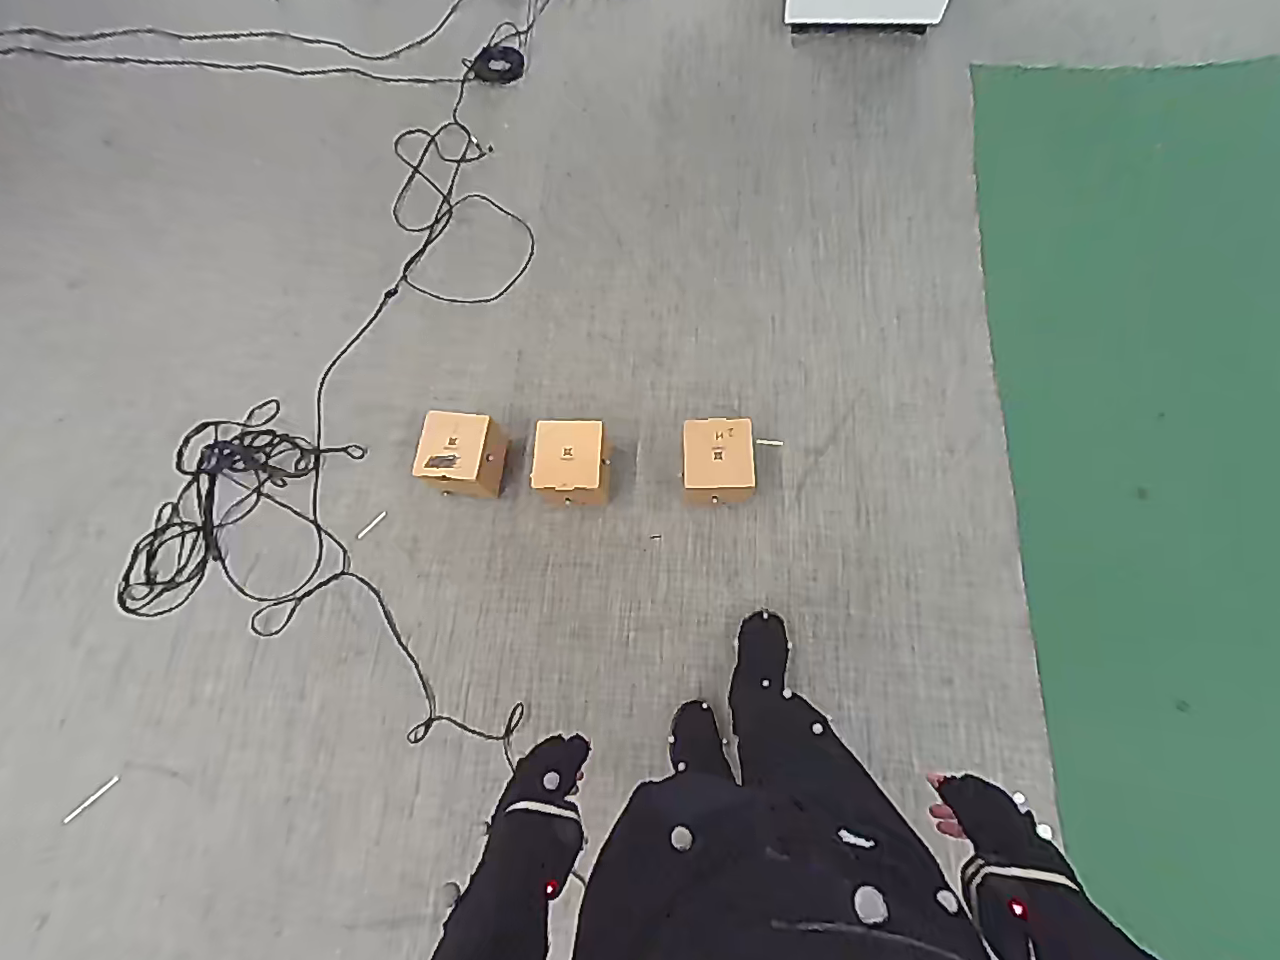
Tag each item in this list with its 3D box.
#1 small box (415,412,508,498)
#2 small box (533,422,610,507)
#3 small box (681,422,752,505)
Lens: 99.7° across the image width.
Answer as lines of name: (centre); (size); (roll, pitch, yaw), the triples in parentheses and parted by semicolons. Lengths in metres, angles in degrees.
small box: (-0.459, -0.059, 1.419); (0.168, 0.176, 0.179); (6, 72, 6)
small box: (-0.170, -0.036, 1.394); (0.168, 0.176, 0.179); (1, 73, 4)
small box: (0.189, -0.035, 1.368); (0.168, 0.176, 0.179); (-1, 73, 3)
